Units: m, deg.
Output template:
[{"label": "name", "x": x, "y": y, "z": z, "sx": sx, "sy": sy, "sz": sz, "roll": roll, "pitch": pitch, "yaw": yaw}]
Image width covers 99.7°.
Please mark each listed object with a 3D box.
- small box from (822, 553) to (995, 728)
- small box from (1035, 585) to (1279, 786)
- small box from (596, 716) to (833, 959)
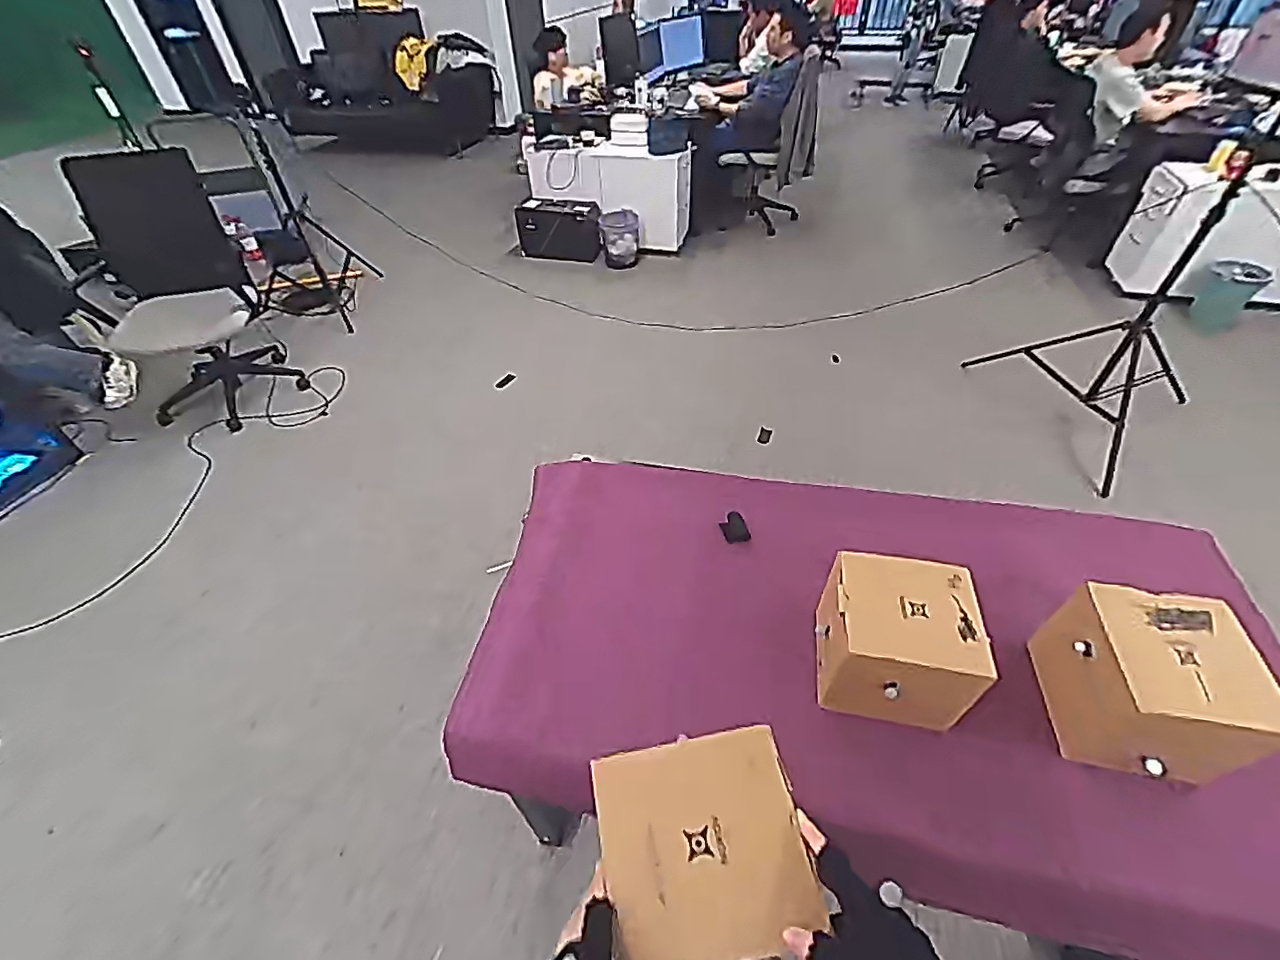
[{"label": "small box", "x": 0.358, "y": 0.227, "z": 0.764, "sx": 0.179, "sy": 0.176, "sz": 0.168, "roll": 7, "pitch": 45, "yaw": 10}, {"label": "small box", "x": 0.661, "y": 0.267, "z": 0.707, "sx": 0.168, "sy": 0.176, "sz": 0.179, "roll": 7, "pitch": 45, "yaw": 10}, {"label": "small box", "x": 0.060, "y": 0.354, "z": 0.533, "sx": 0.179, "sy": 0.176, "sz": 0.168, "roll": -11, "pitch": 51, "yaw": -4}]
